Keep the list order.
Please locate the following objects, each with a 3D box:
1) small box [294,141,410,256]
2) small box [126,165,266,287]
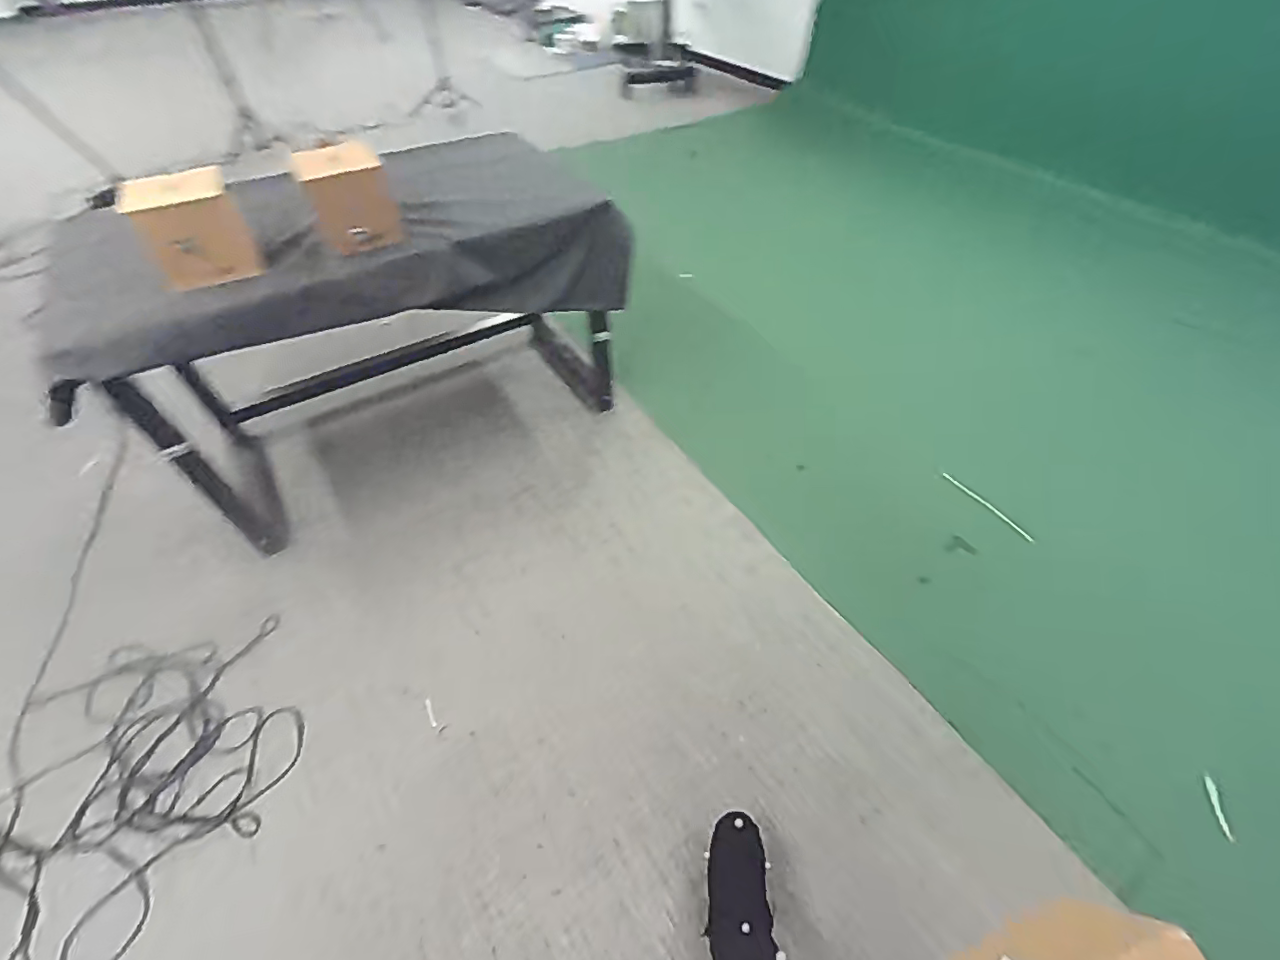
[{"bbox_3d":[-0.644,-0.633,1.220,0.168,0.176,0.179,-25,54,-19],"label":"small box"},{"bbox_3d":[-0.910,-0.521,1.121,0.168,0.176,0.179,-24,52,-19],"label":"small box"}]
